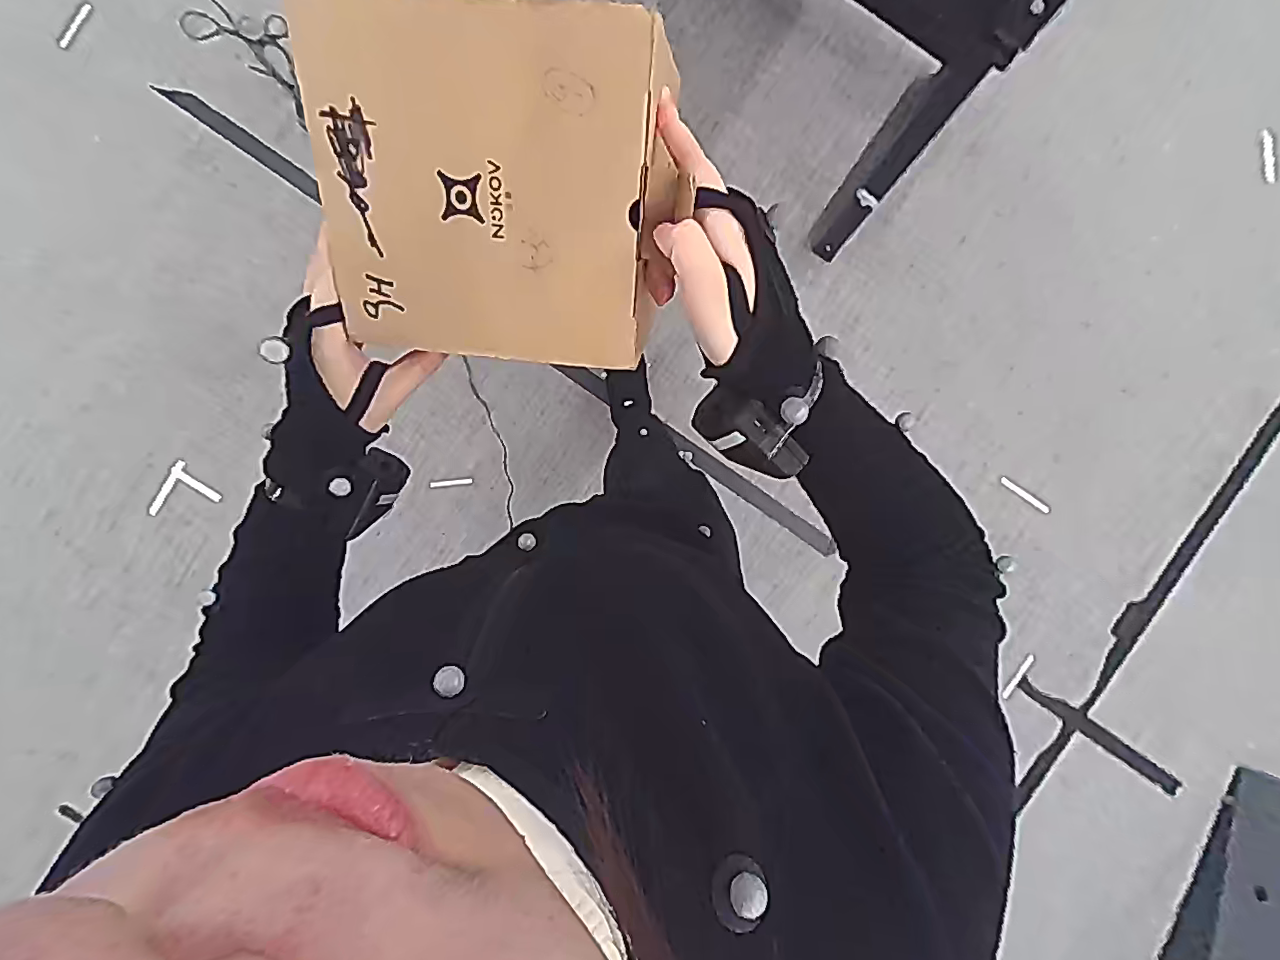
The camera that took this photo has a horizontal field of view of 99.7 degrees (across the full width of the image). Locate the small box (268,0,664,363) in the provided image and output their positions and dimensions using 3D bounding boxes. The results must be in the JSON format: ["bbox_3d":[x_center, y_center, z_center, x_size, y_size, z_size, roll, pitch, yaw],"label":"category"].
[{"bbox_3d":[-0.080,-0.186,0.342,0.179,0.176,0.168,7,120,2],"label":"small box"}]
